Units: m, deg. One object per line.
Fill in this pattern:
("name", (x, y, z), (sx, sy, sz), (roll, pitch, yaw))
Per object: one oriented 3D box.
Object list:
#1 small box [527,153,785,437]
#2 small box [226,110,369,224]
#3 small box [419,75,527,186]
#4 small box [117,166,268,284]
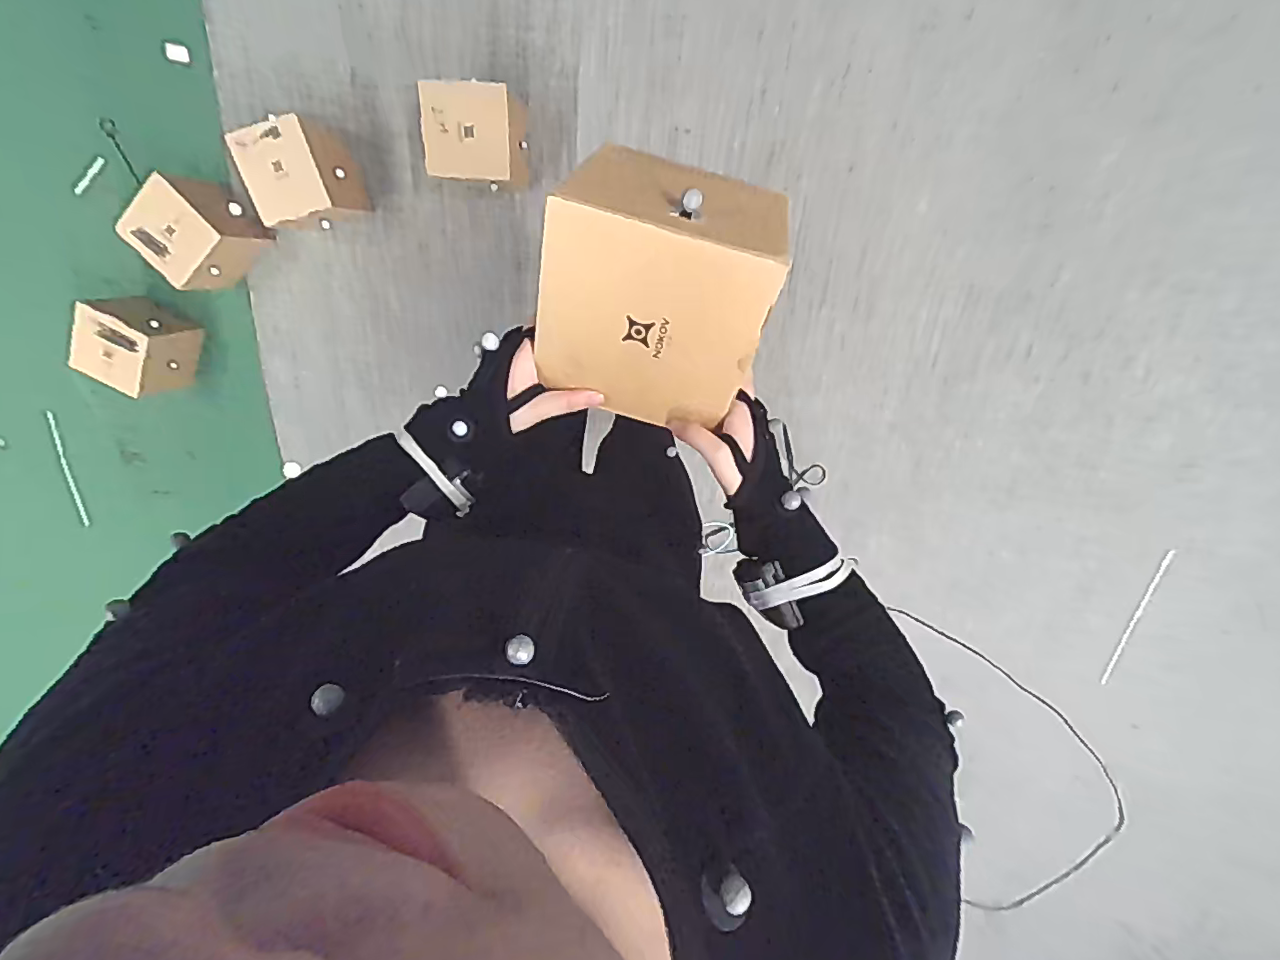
("small box", (0.015, -0.171, 0.485), (0.179, 0.176, 0.168), (16, 133, -1))
("small box", (-0.728, -0.668, 1.175), (0.168, 0.176, 0.179), (-10, 112, 8))
("small box", (-0.336, -0.719, 1.129), (0.179, 0.176, 0.168), (4, 113, 1))
("small box", (-1.006, -0.572, 1.232), (0.179, 0.176, 0.168), (-36, 106, 16))
